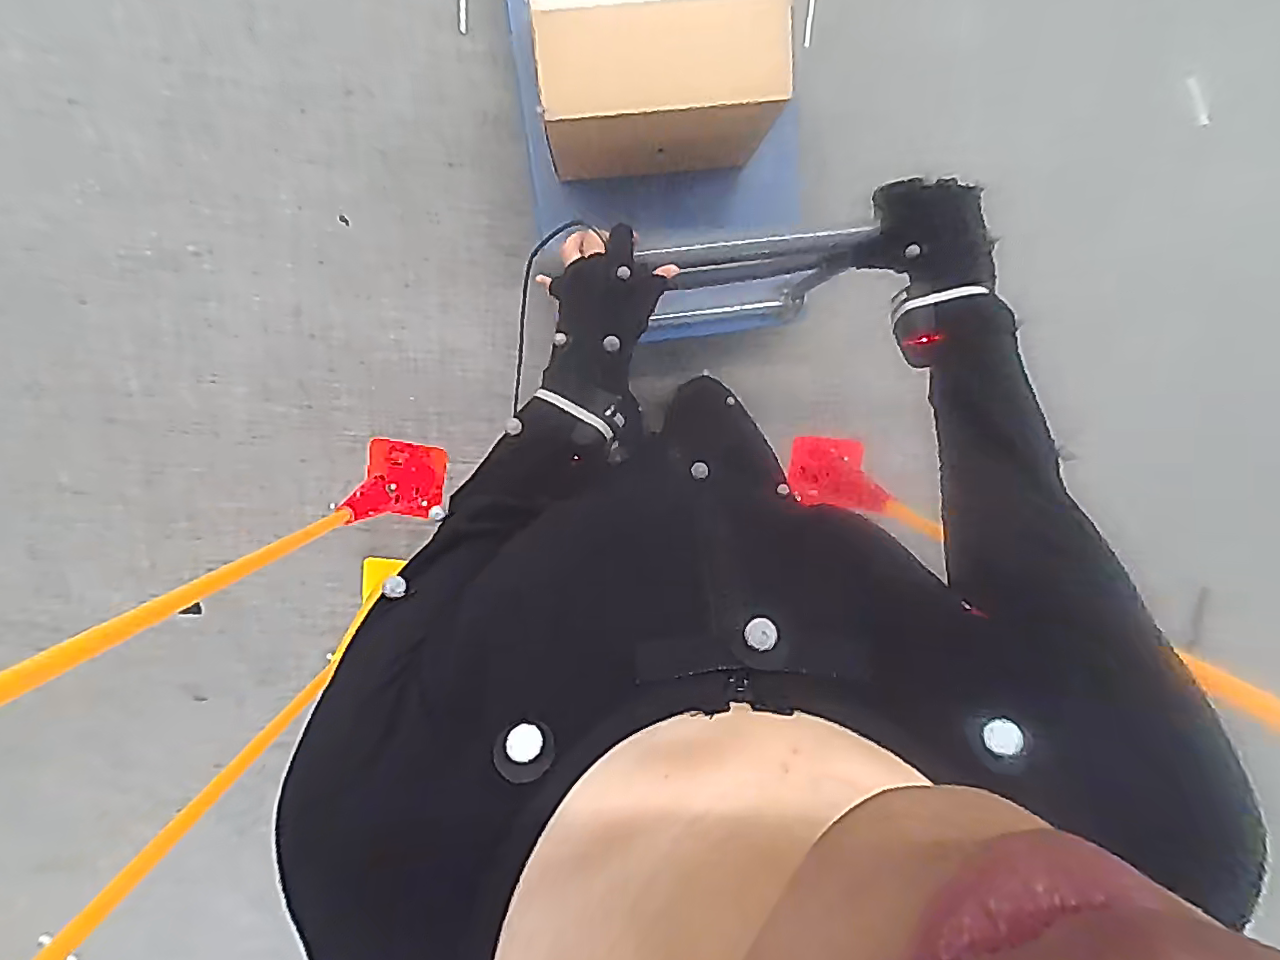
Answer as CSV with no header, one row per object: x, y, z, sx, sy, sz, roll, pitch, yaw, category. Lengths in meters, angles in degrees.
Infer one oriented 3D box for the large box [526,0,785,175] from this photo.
0.017,-0.778,0.979,0.408,0.320,0.320,-6,104,-2,large box

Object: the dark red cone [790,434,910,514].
0.525,0.014,1.310,0.201,0.394,0.202,3,102,-6,dark red cone

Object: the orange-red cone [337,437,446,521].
-0.608,0.029,1.261,0.198,0.360,0.199,11,100,-7,orange-red cone
